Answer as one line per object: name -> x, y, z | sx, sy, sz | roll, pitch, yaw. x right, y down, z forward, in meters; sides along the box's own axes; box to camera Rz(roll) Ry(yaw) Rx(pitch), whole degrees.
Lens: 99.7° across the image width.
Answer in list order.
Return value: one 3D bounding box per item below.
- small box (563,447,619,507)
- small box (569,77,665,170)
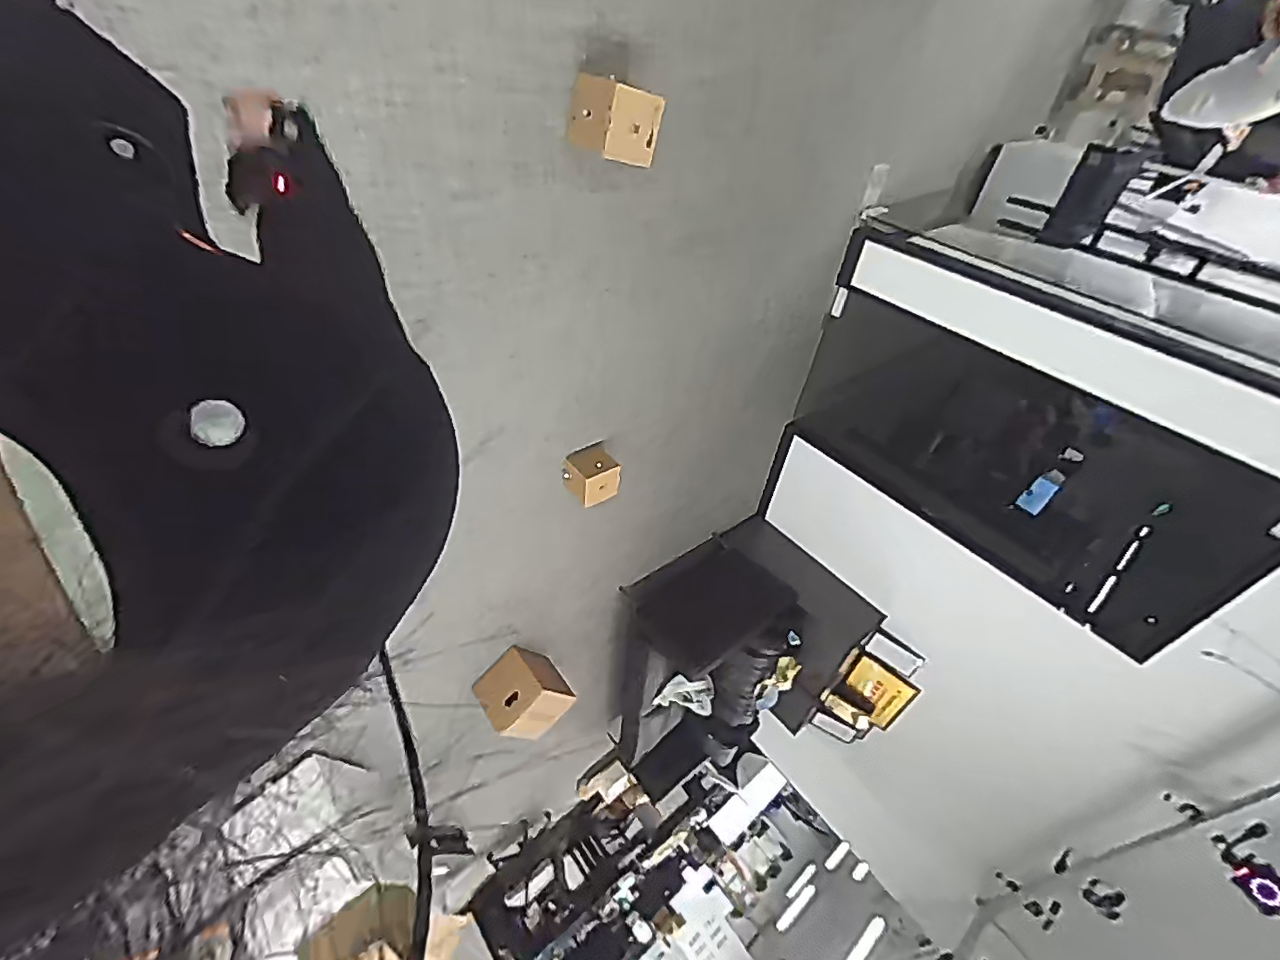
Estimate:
small box -> -0.211, -0.019, 2.318 | 0.179, 0.176, 0.168 | -24, 140, -31
small box -> -0.068, -0.959, 1.455 | 0.179, 0.176, 0.168 | -15, 135, -40
